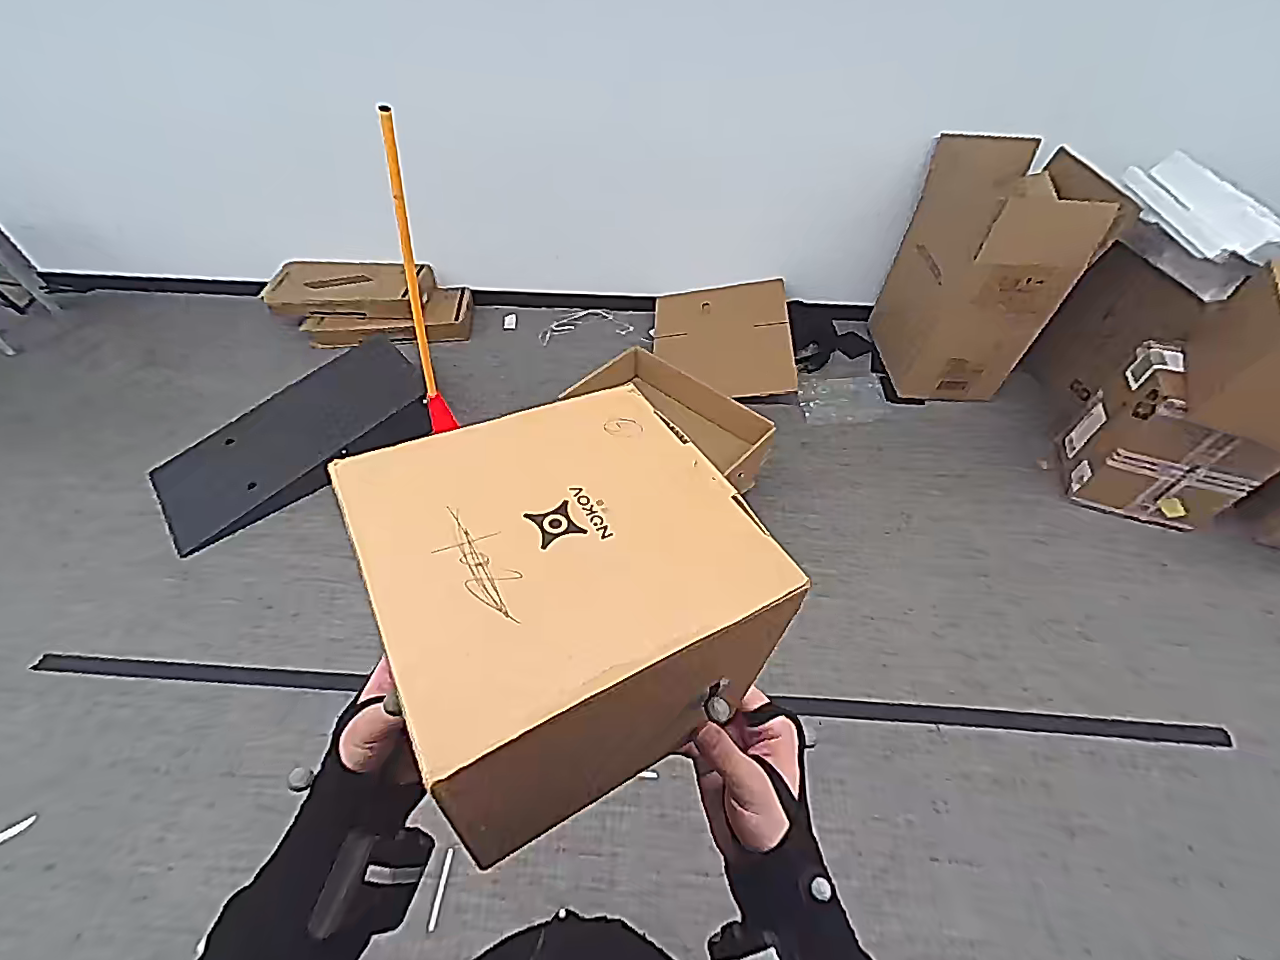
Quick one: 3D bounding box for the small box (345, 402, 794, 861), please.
[{"bbox_3d":[-0.046,0.085,0.324,0.179,0.176,0.168,-21,52,-24],"label":"small box"}]
